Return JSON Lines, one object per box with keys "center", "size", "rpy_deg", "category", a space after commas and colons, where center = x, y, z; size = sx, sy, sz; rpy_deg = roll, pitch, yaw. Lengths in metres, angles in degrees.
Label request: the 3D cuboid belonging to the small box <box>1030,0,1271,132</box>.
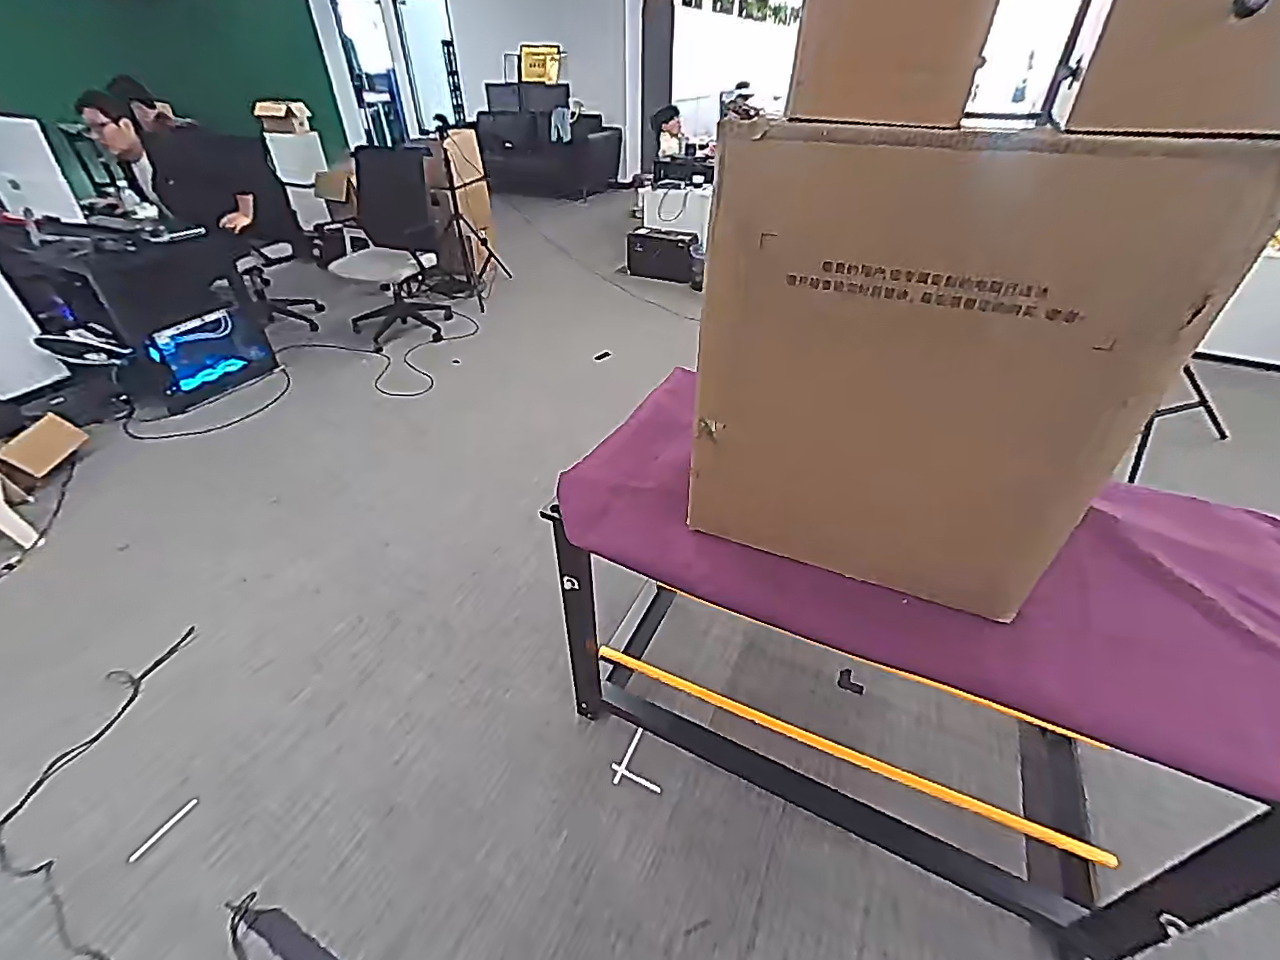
{"center": [0.586, -0.520, 0.634], "size": [0.168, 0.176, 0.179], "rpy_deg": [16, 41, 22], "category": "small box"}
